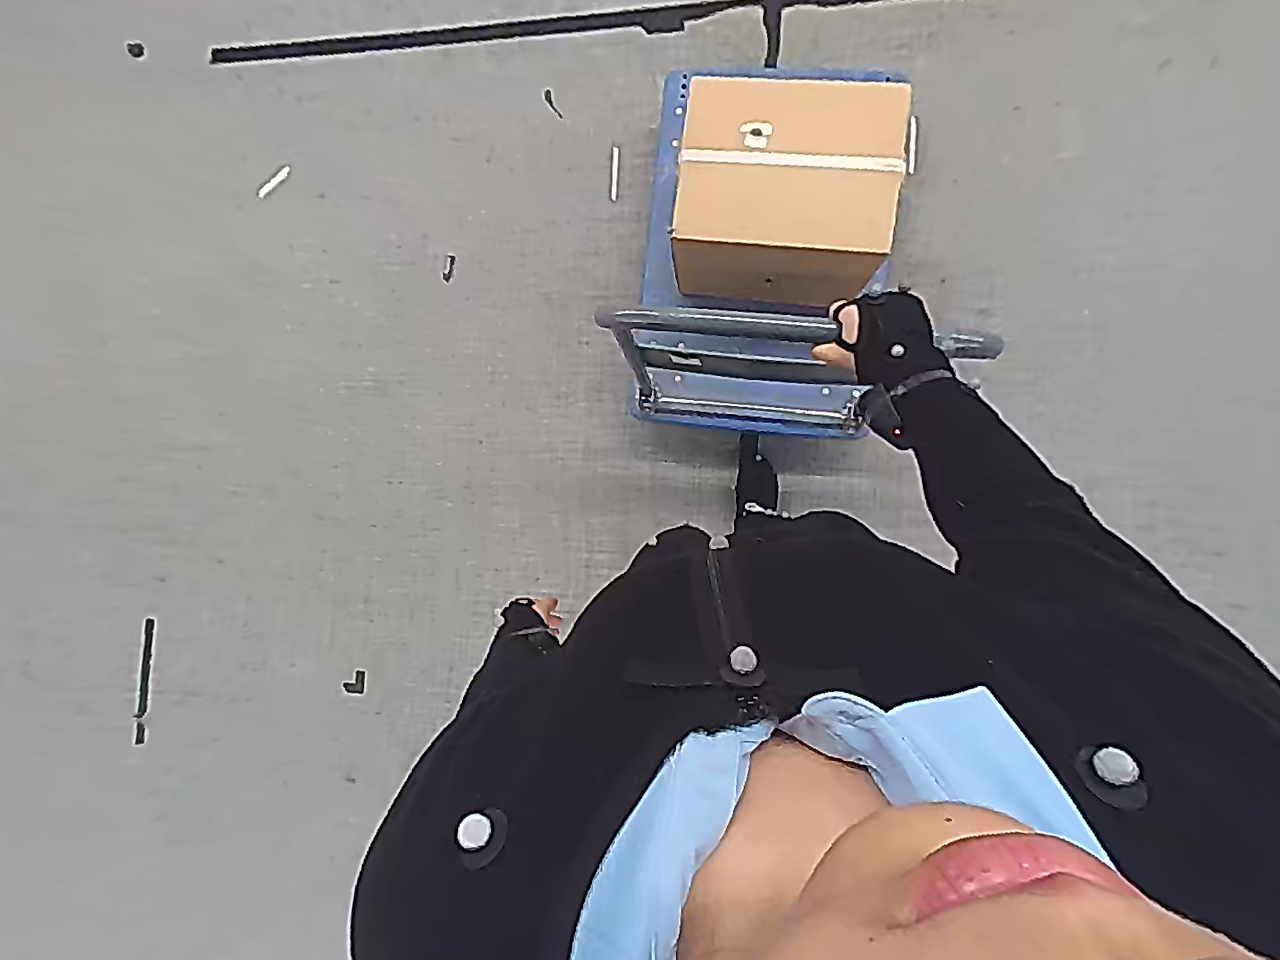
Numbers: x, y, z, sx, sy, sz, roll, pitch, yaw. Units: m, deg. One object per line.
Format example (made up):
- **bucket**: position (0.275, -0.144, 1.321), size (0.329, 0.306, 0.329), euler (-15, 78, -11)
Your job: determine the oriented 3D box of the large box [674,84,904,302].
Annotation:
- **large box**: position (0.301, -0.593, 1.169), size (0.408, 0.320, 0.320), euler (7, 89, 9)
